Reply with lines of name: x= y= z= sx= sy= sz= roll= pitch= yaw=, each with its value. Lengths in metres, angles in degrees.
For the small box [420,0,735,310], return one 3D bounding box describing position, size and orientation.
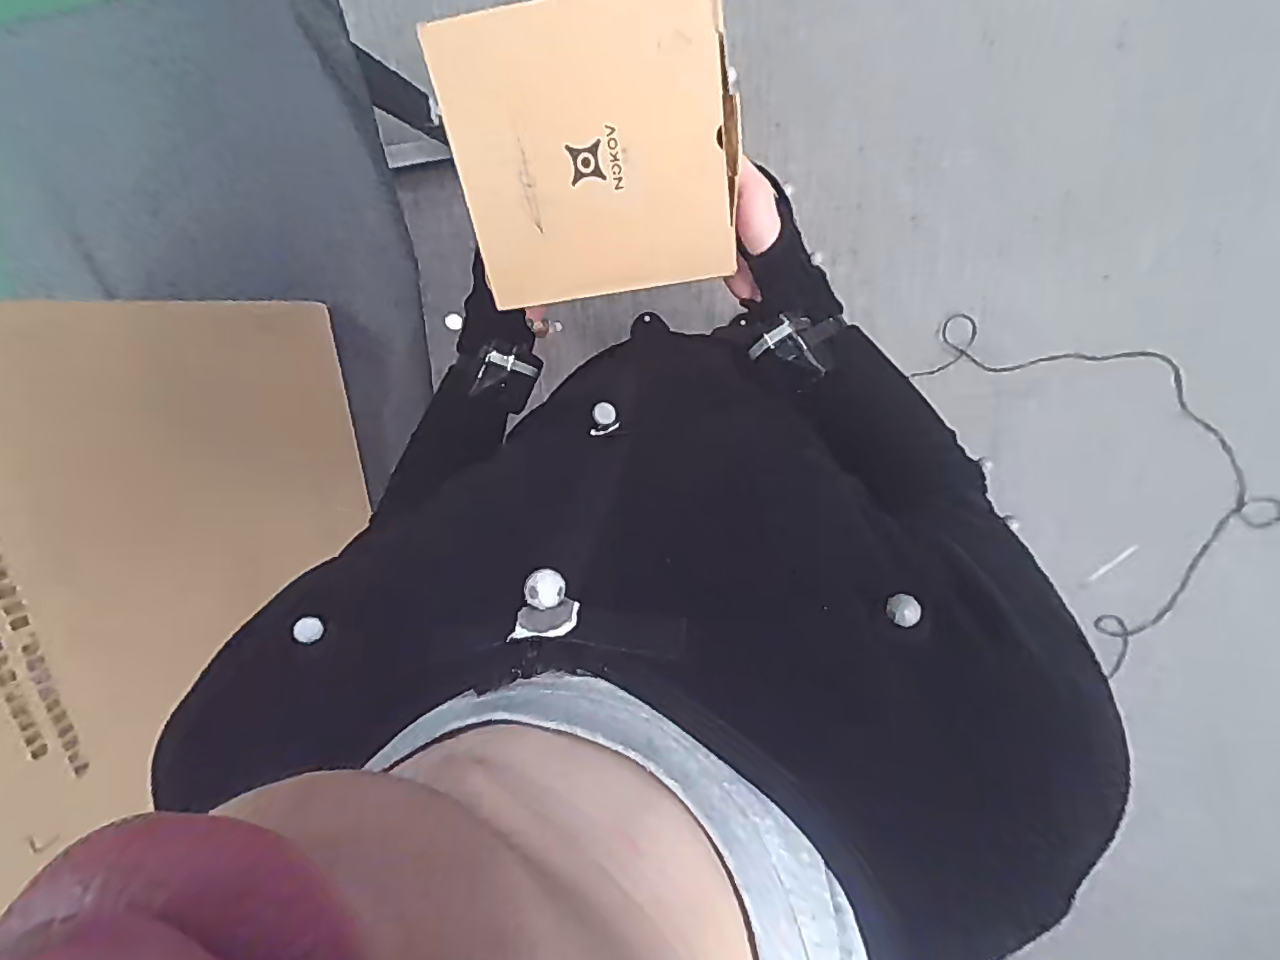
small box: x=-0.029 y=-0.244 z=0.412 sx=0.179 sy=0.176 sz=0.168 roll=-7 pitch=120 yaw=7
